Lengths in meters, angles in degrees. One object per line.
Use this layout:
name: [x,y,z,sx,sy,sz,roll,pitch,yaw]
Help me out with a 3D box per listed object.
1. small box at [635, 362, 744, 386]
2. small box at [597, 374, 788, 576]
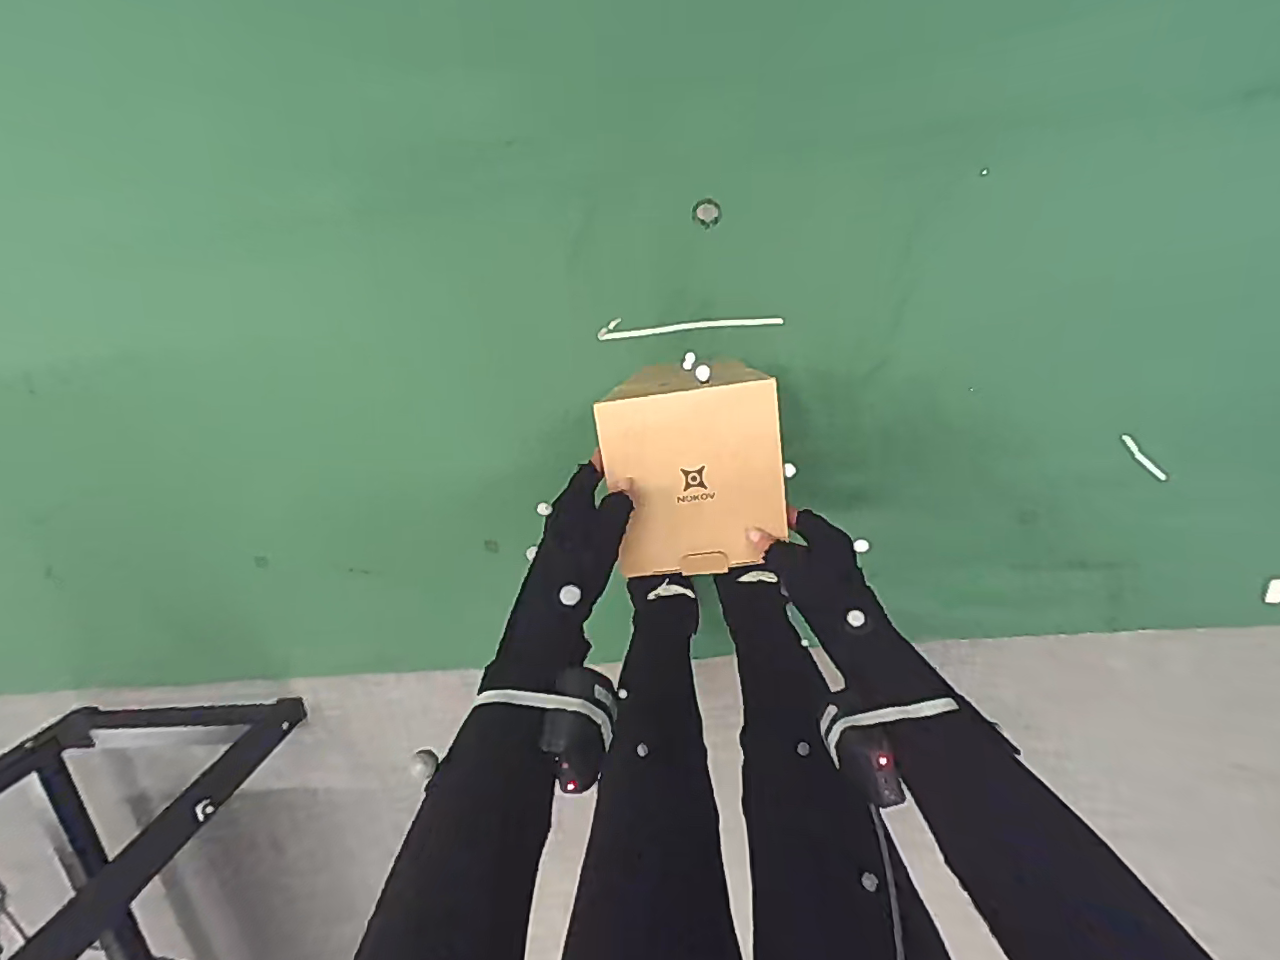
small box: [0.086,-0.098,0.900,0.168,0.176,0.179,-4,105,5]
small box: [0.056,-0.017,0.584,0.168,0.176,0.179,-7,105,6]
